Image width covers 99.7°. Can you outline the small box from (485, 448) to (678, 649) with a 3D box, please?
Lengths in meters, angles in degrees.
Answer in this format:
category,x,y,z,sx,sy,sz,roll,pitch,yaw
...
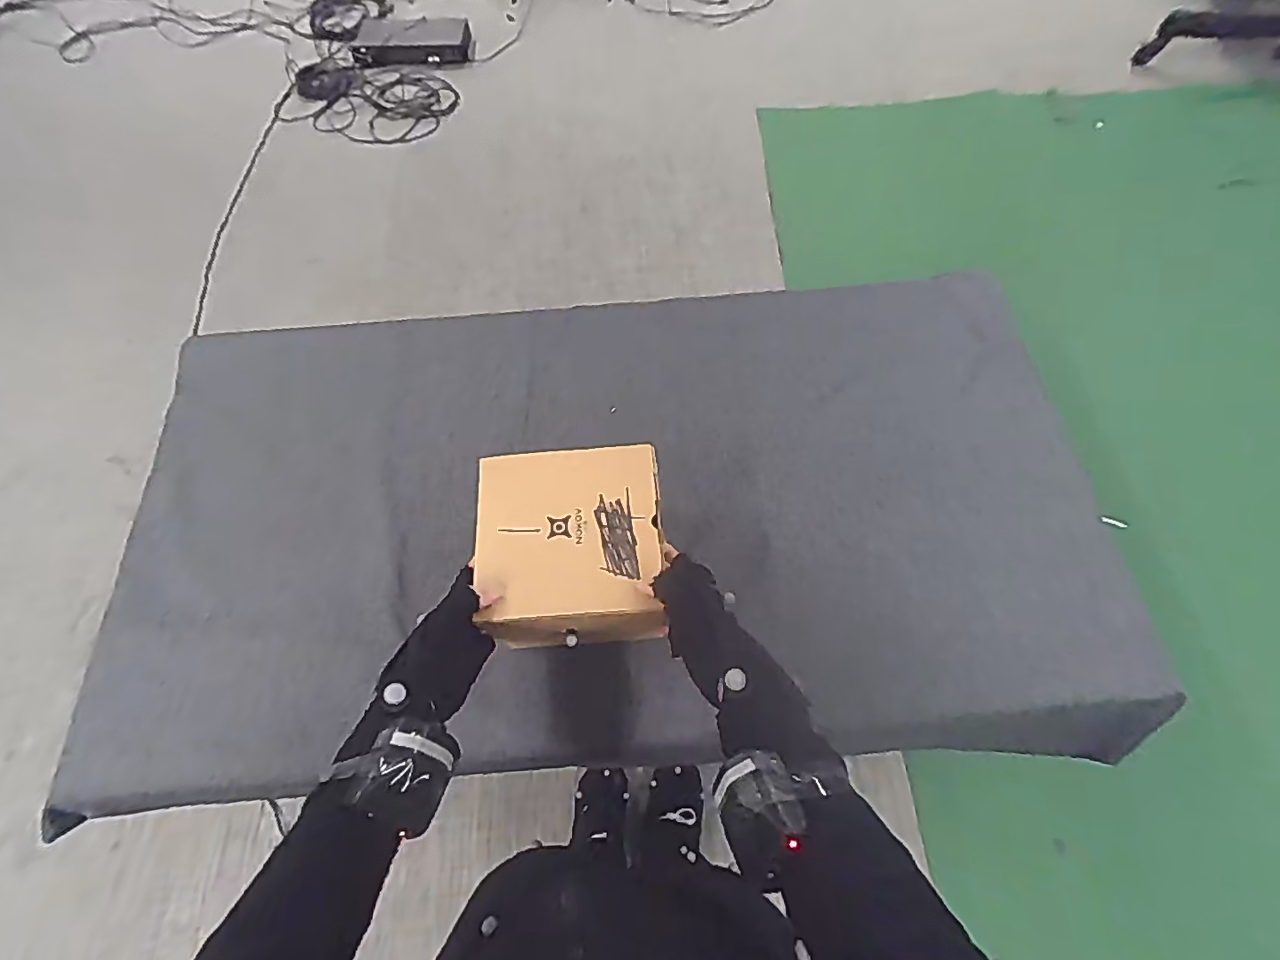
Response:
category,x,y,z,sx,sy,sz,roll,pitch,yaw
small box,-0.062,0.082,0.589,0.179,0.176,0.168,-7,66,-3
